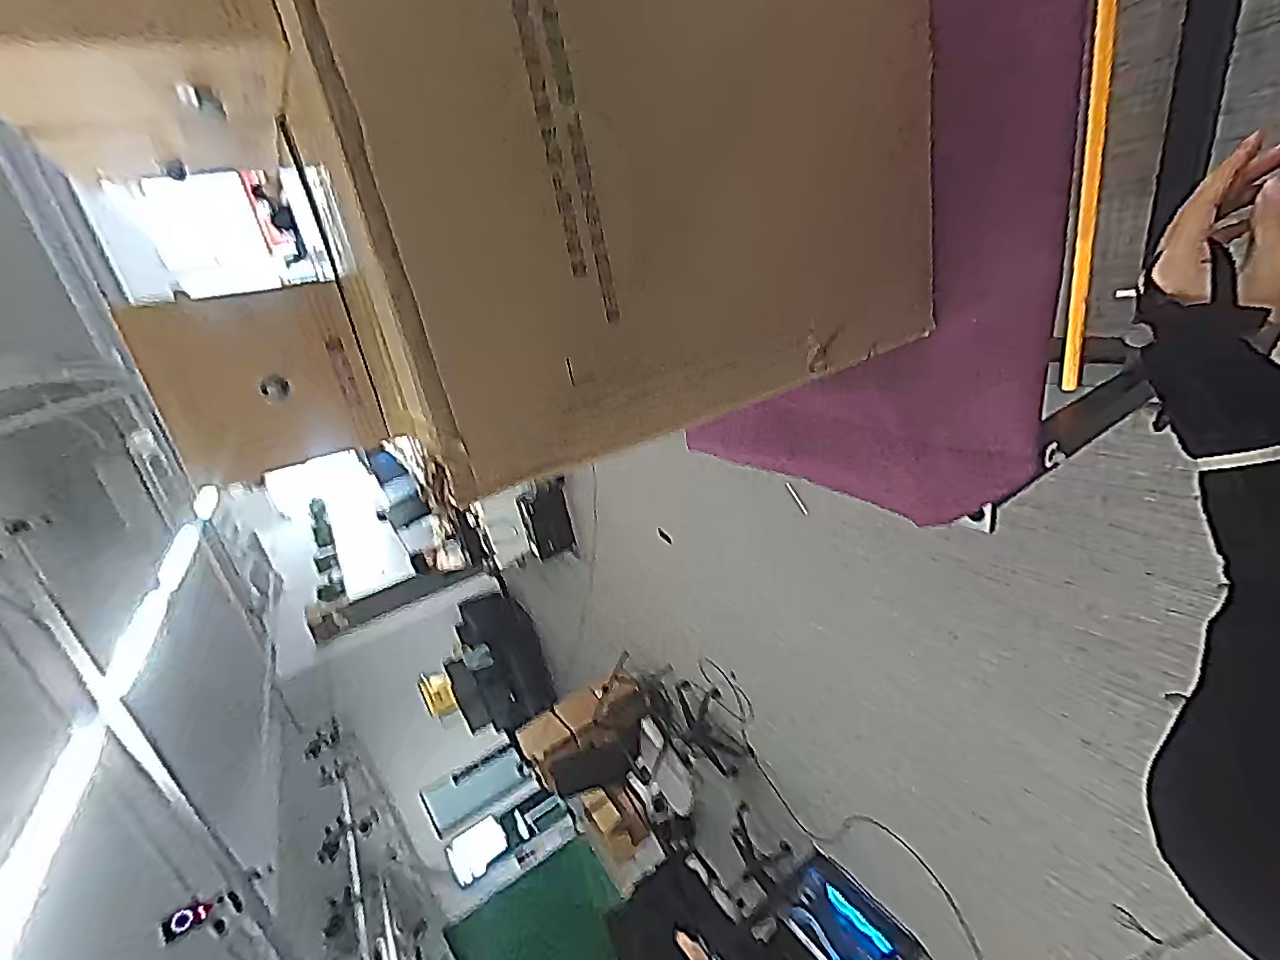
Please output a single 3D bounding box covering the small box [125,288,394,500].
[{"bbox_3d":[-0.373,-0.098,0.563,0.179,0.176,0.168,20,125,55],"label":"small box"}]
